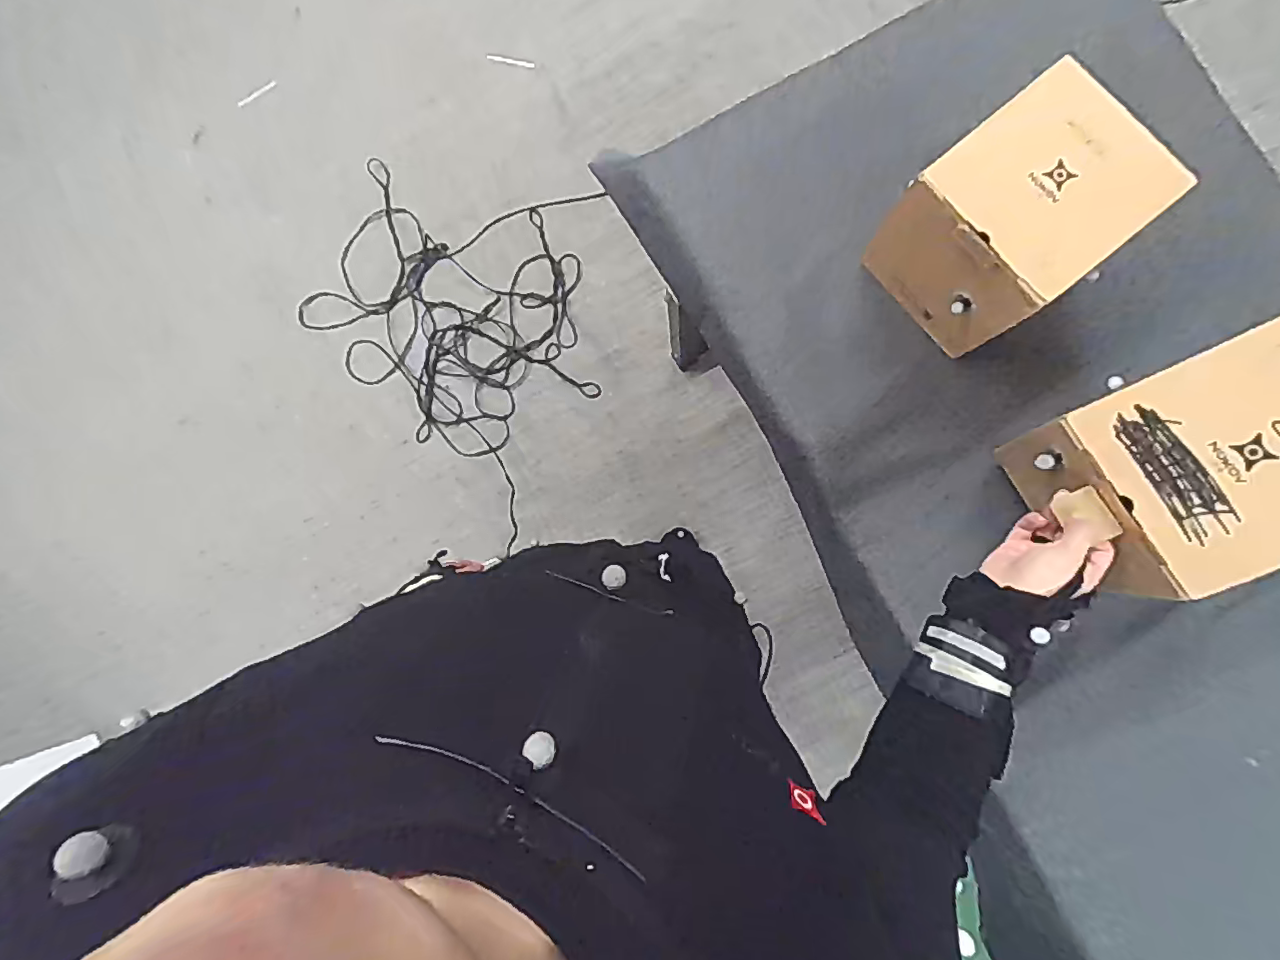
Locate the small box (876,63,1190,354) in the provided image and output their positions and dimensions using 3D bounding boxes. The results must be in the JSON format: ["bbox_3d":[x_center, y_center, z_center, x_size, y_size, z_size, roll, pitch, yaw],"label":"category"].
[{"bbox_3d":[0.378,-0.261,0.567,0.179,0.176,0.168,-39,85,-1],"label":"small box"}]
